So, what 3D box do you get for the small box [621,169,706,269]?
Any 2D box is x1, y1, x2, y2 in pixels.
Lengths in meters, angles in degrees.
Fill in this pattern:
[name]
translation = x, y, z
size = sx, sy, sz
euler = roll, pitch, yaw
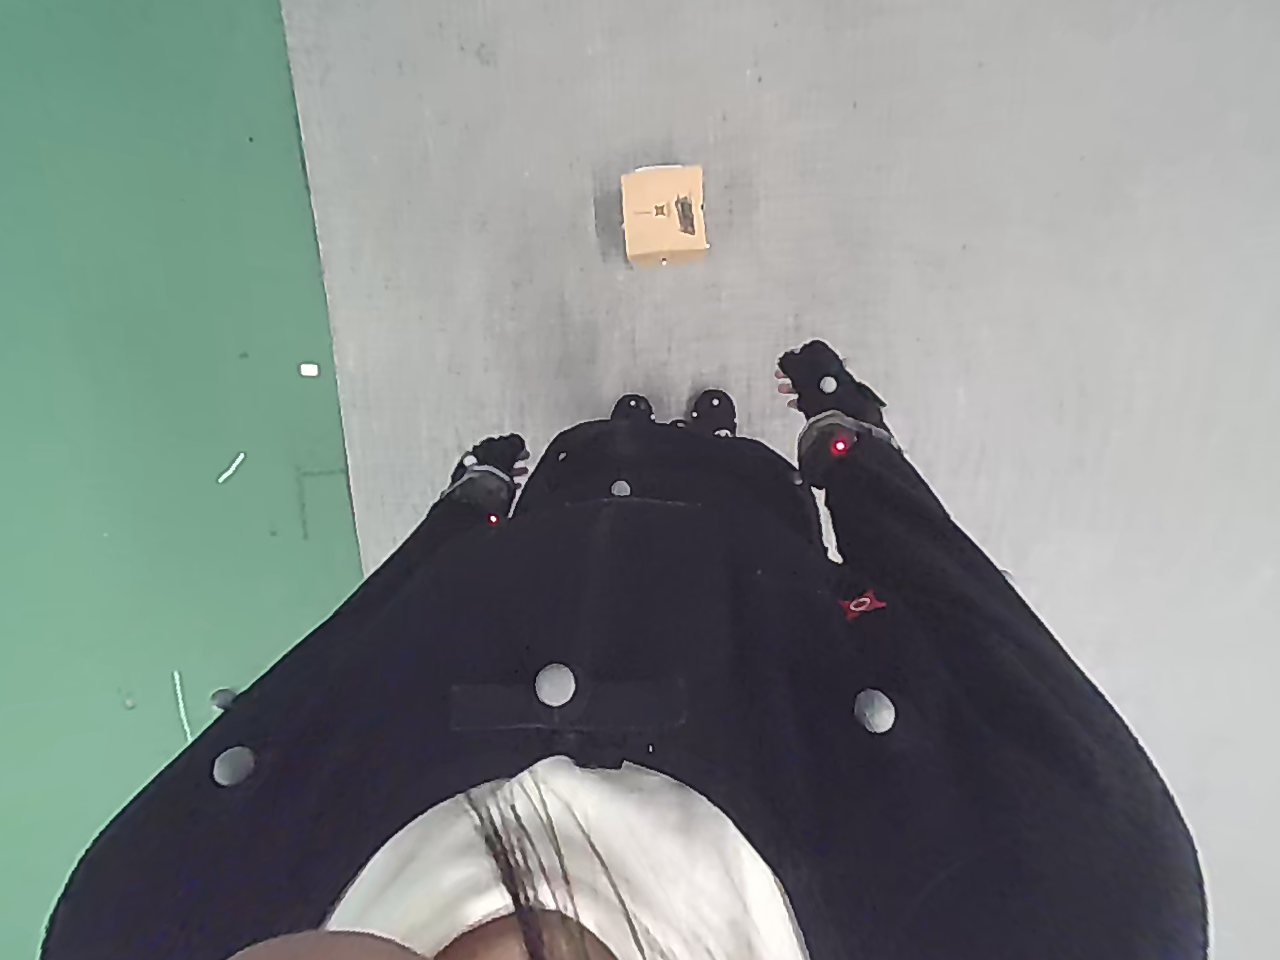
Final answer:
[small box]
translation = 0.057, -0.588, 1.236
size = 0.179, 0.176, 0.168
euler = -3, 101, 7
